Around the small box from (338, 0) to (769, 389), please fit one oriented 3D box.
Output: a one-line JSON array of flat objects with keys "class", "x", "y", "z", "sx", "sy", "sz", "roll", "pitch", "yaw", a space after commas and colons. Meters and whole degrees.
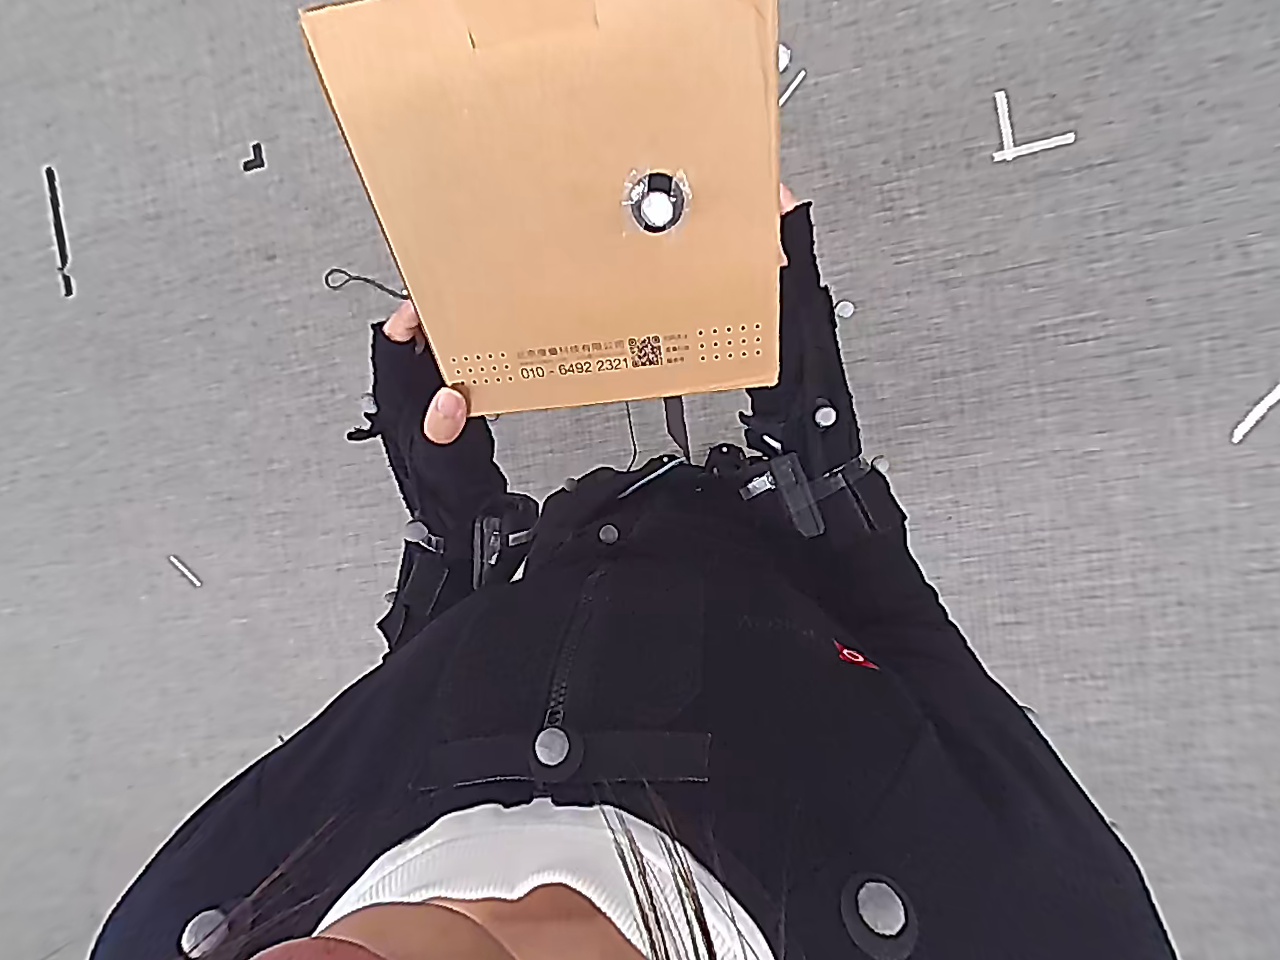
[{"class": "small box", "x": -0.018, "y": -0.161, "z": 0.307, "sx": 0.168, "sy": 0.179, "sz": 0.176, "roll": -3, "pitch": 128, "yaw": 9}]
